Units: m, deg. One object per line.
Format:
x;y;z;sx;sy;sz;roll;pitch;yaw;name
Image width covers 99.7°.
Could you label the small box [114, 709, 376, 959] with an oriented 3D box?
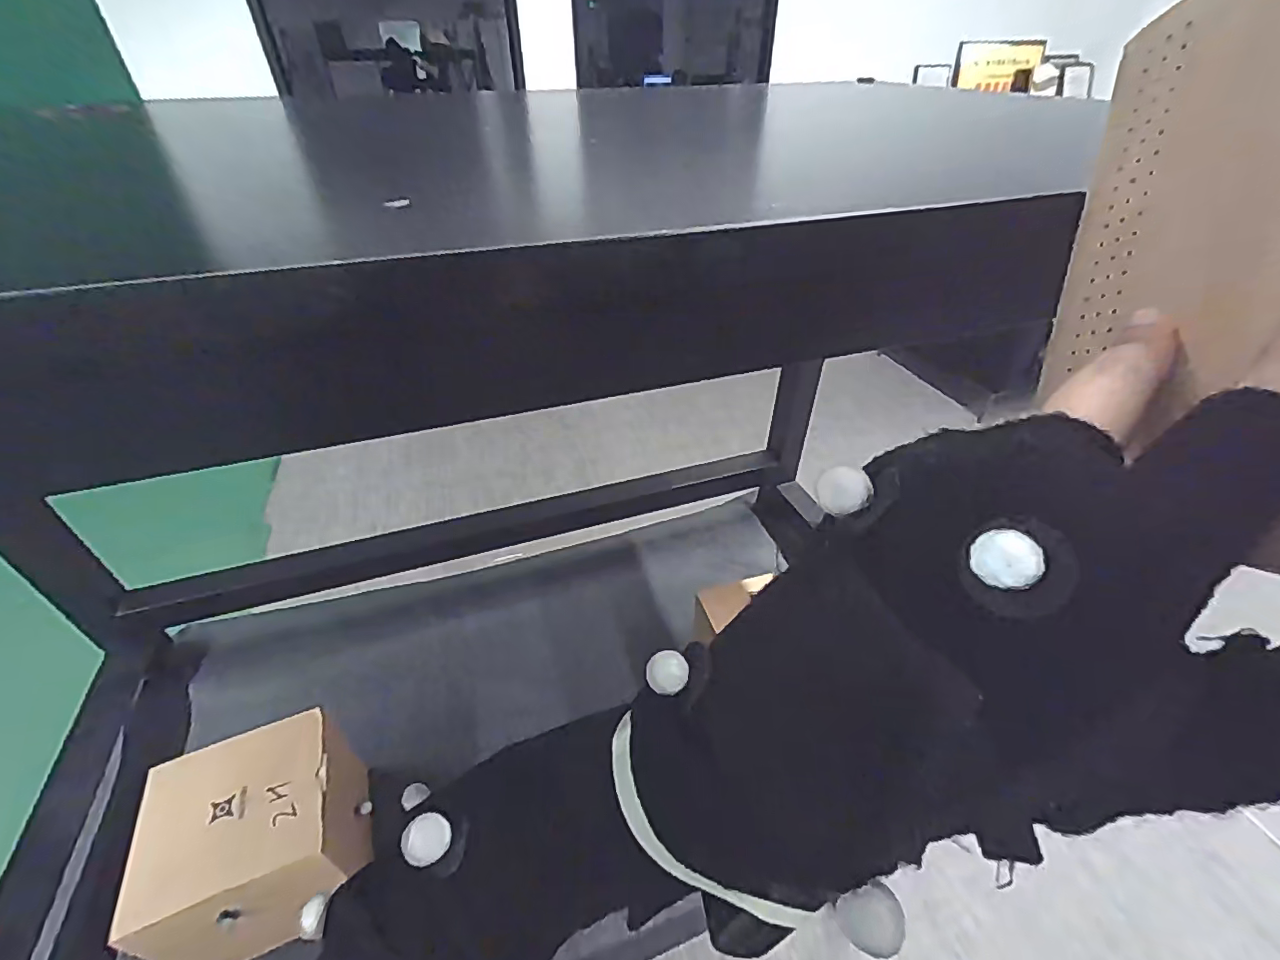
-0.422;0.405;0.615;0.179;0.176;0.168;-15;42;-19;small box
